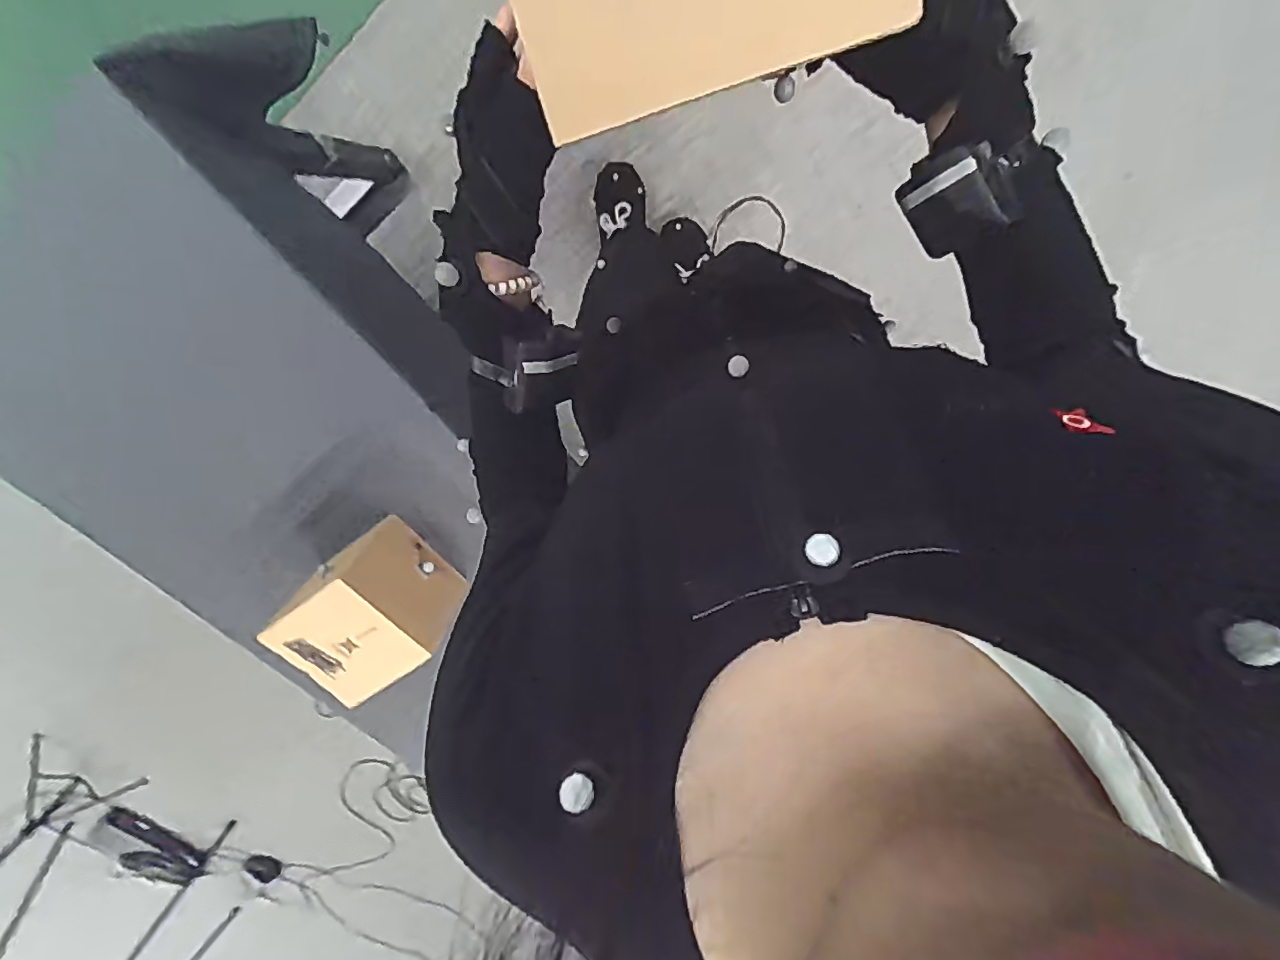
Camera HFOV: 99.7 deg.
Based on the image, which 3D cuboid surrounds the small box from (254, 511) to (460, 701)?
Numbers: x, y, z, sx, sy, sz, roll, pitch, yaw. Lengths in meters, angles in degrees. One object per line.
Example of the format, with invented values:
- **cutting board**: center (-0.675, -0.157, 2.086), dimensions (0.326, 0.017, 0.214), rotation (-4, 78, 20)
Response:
- **small box**: center (-0.399, 0.179, 0.796), dimensions (0.179, 0.176, 0.168), rotation (-33, 112, 16)
